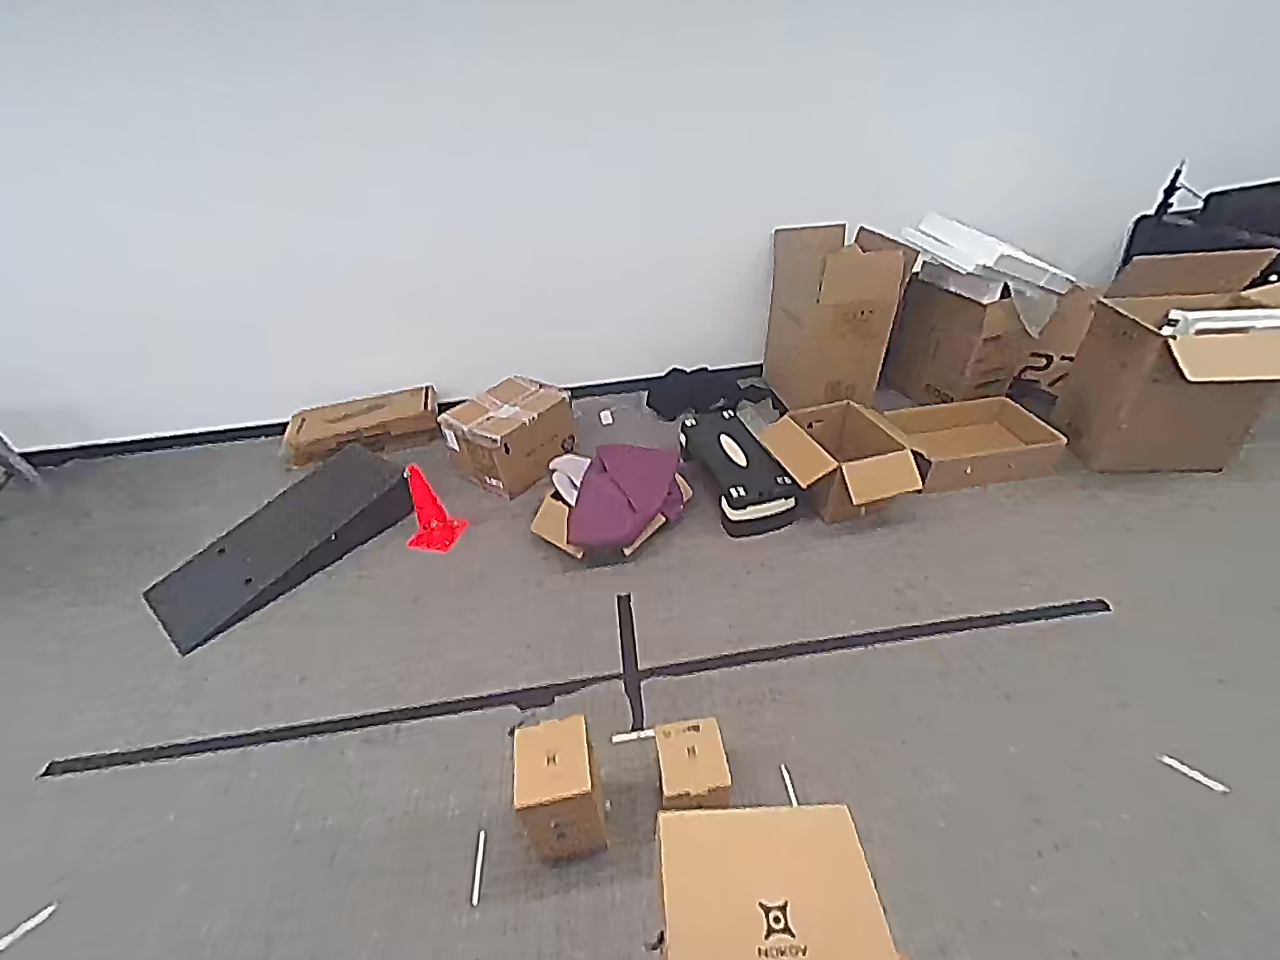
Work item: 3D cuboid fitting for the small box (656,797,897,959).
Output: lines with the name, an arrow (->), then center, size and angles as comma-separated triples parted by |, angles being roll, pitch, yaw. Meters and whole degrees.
small box -> 0.100, 0.395, 0.446 | 0.168, 0.176, 0.179 | -2, 35, -1

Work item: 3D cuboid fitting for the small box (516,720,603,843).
small box -> -0.184, 0.691, 1.239 | 0.168, 0.176, 0.179 | -11, 38, -5

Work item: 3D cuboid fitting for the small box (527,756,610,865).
small box -> -0.175, 0.819, 1.338 | 0.179, 0.176, 0.168 | -8, 37, -4

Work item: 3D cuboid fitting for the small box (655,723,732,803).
small box -> 0.136, 0.758, 1.384 | 0.168, 0.176, 0.179 | -8, 37, -3
